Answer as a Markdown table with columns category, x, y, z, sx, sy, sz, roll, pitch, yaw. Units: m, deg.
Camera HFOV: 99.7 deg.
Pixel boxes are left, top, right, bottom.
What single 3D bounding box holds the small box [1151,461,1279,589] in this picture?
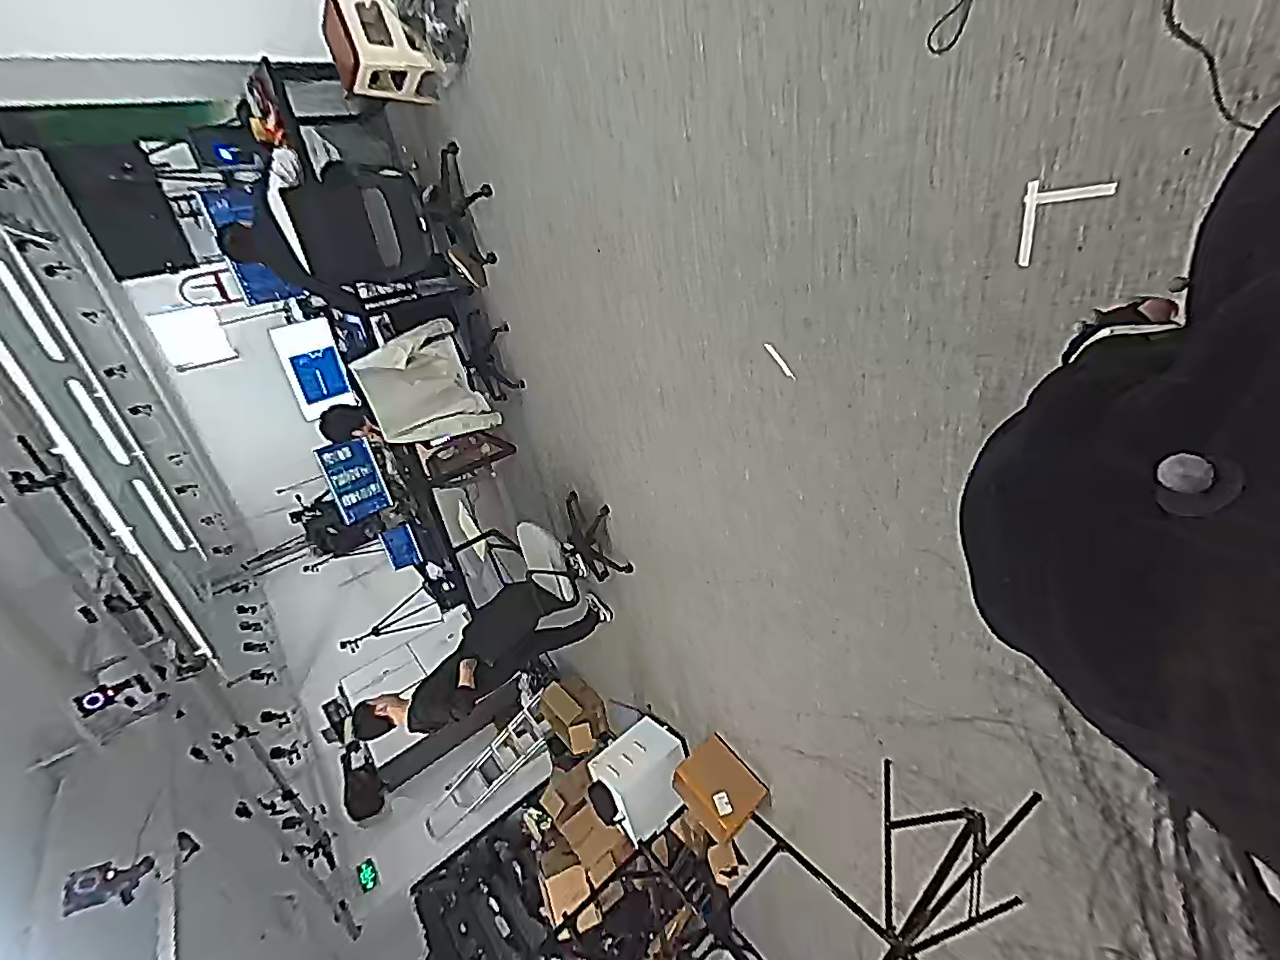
| category | x | y | z | sx | sy | sz | roll | pitch | yaw |
| --- | --- | --- | --- | --- | --- | --- | --- | --- | --- |
| small box | 1.140 | 0.080 | 1.059 | 0.168 | 0.176 | 0.179 | 11 | 122 | 51 |
